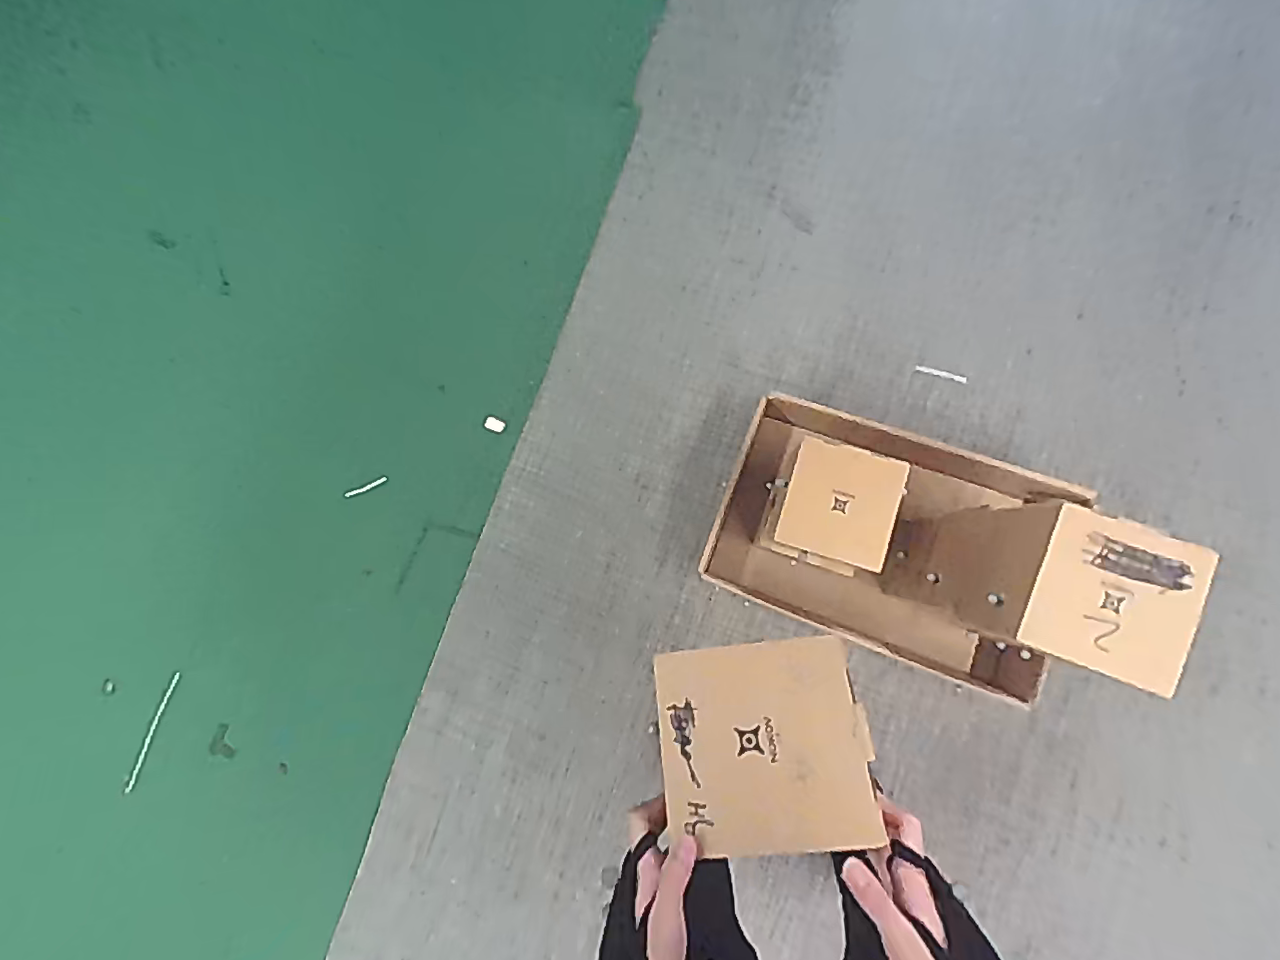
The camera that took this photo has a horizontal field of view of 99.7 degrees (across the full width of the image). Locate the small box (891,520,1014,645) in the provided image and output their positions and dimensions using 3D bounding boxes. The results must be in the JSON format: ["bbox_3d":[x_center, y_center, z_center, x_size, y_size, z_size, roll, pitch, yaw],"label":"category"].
[{"bbox_3d":[0.601,0.182,1.006,0.179,0.176,0.168,24,87,14],"label":"small box"}]

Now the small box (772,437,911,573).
[{"bbox_3d":[0.325,0.046,0.909,0.168,0.176,0.179,17,85,11],"label":"small box"}]

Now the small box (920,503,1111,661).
[{"bbox_3d":[0.569,0.154,0.849,0.168,0.176,0.179,24,86,12],"label":"small box"}]

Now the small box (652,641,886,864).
[{"bbox_3d":[0.114,0.261,0.533,0.179,0.176,0.168,-9,63,7],"label":"small box"}]
